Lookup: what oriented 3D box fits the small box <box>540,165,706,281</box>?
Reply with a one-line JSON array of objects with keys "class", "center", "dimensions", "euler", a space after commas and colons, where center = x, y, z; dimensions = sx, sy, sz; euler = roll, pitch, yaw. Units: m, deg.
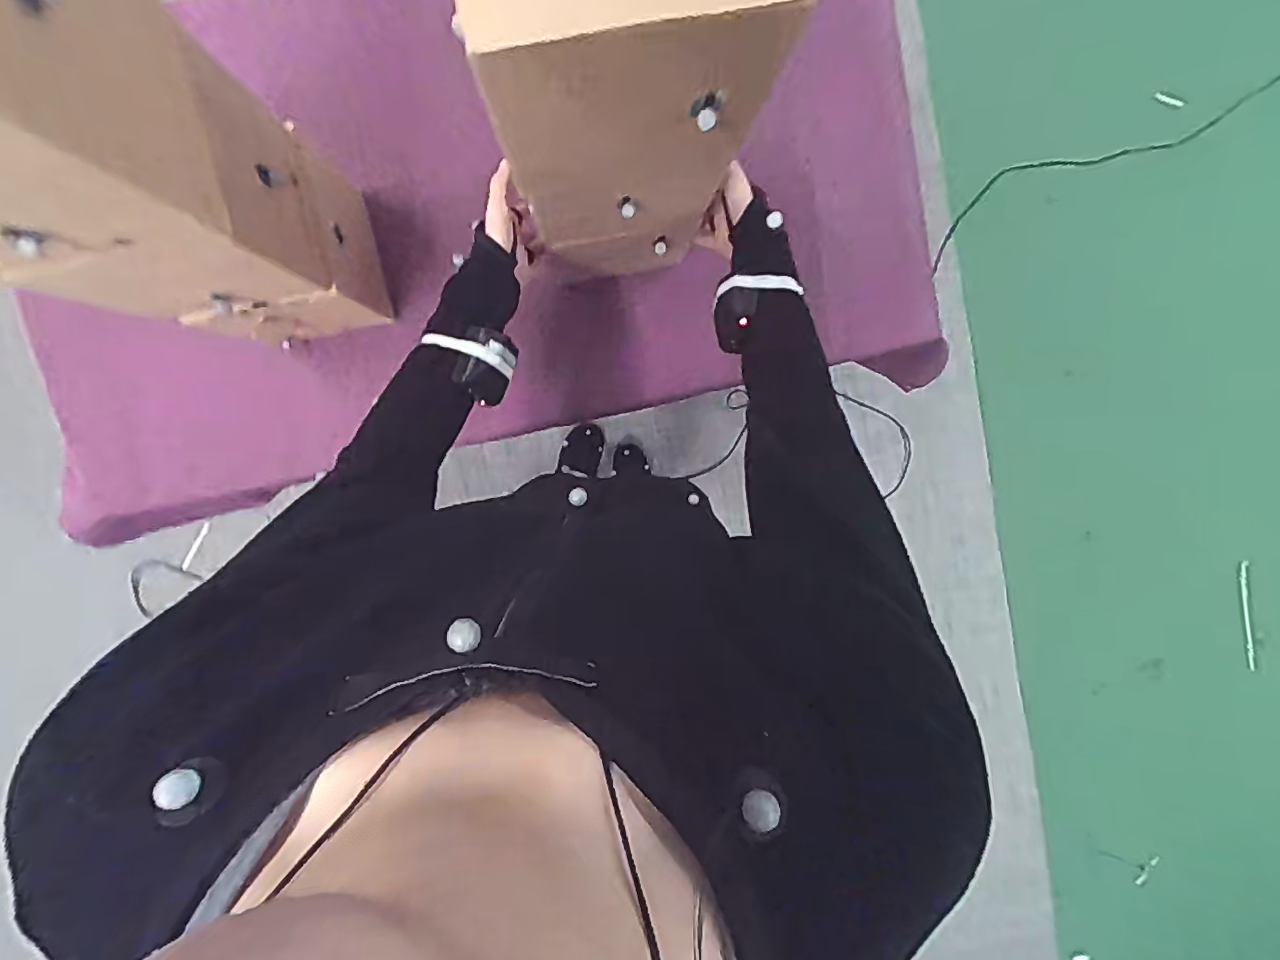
[{"class": "small box", "center": [-0.032, -0.356, 0.657], "dimensions": [0.179, 0.176, 0.168], "euler": [-12, 97, -3]}]

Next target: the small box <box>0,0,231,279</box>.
[{"class": "small box", "center": [-0.392, -0.238, 0.313], "dimensions": [0.168, 0.176, 0.179], "euler": [-13, 98, -3]}]

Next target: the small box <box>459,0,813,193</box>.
[{"class": "small box", "center": [-0.018, -0.305, 0.334], "dimensions": [0.179, 0.176, 0.168], "euler": [-12, 97, -2]}]

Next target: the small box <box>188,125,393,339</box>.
[{"class": "small box", "center": [-0.417, -0.272, 0.638], "dimensions": [0.168, 0.176, 0.179], "euler": [-13, 97, -4]}]

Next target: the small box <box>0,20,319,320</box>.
[{"class": "small box", "center": [-0.414, -0.249, 0.475], "dimensions": [0.179, 0.176, 0.168], "euler": [-12, 97, -4]}]
